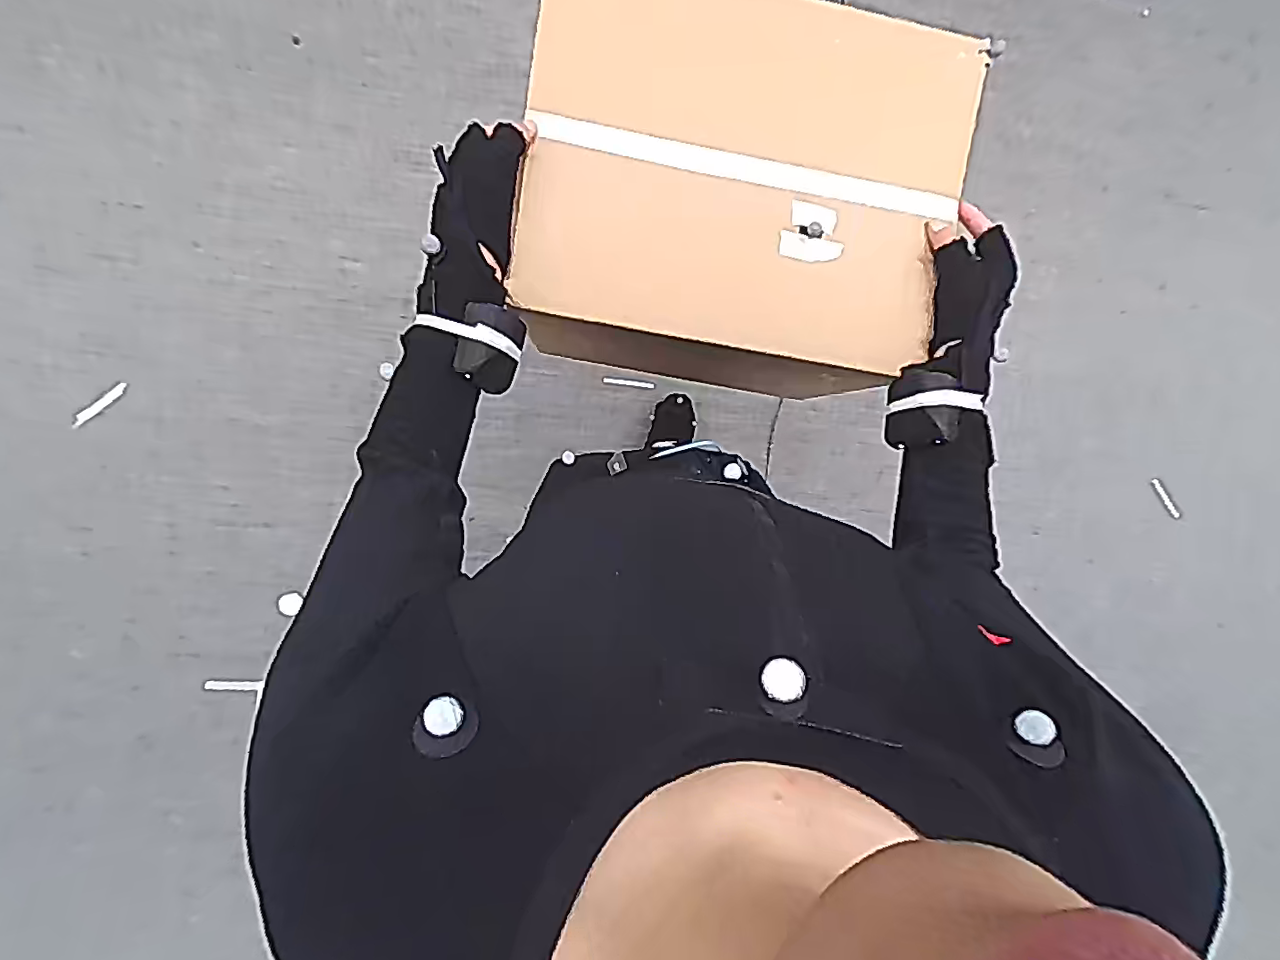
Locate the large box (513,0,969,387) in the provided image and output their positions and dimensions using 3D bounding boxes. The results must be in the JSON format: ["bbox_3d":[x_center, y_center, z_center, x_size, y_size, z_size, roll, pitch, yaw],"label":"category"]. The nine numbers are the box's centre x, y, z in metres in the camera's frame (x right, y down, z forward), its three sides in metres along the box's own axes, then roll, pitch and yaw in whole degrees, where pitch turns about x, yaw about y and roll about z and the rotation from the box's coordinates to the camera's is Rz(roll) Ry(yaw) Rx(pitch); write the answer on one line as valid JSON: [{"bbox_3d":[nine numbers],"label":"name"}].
[{"bbox_3d":[0.083,-0.305,0.653,0.408,0.320,0.320,9,96,-6],"label":"large box"}]
